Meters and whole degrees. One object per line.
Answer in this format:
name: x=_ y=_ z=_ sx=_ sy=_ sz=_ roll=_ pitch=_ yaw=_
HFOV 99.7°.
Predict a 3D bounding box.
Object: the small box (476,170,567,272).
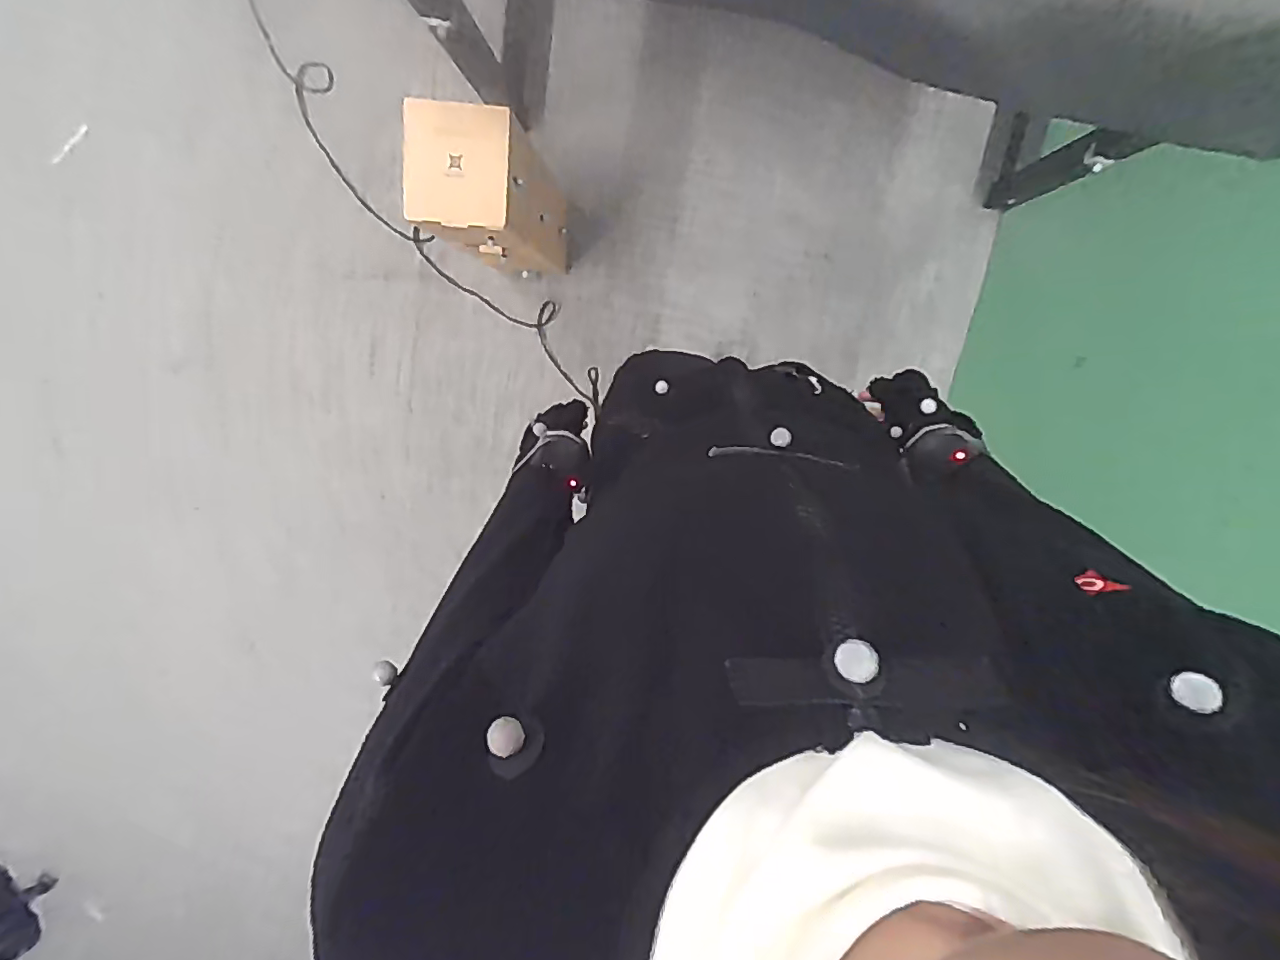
small box: x=-0.264 y=-0.581 z=1.230 sx=0.168 sy=0.176 sz=0.179 roll=3 pitch=104 yaw=3
